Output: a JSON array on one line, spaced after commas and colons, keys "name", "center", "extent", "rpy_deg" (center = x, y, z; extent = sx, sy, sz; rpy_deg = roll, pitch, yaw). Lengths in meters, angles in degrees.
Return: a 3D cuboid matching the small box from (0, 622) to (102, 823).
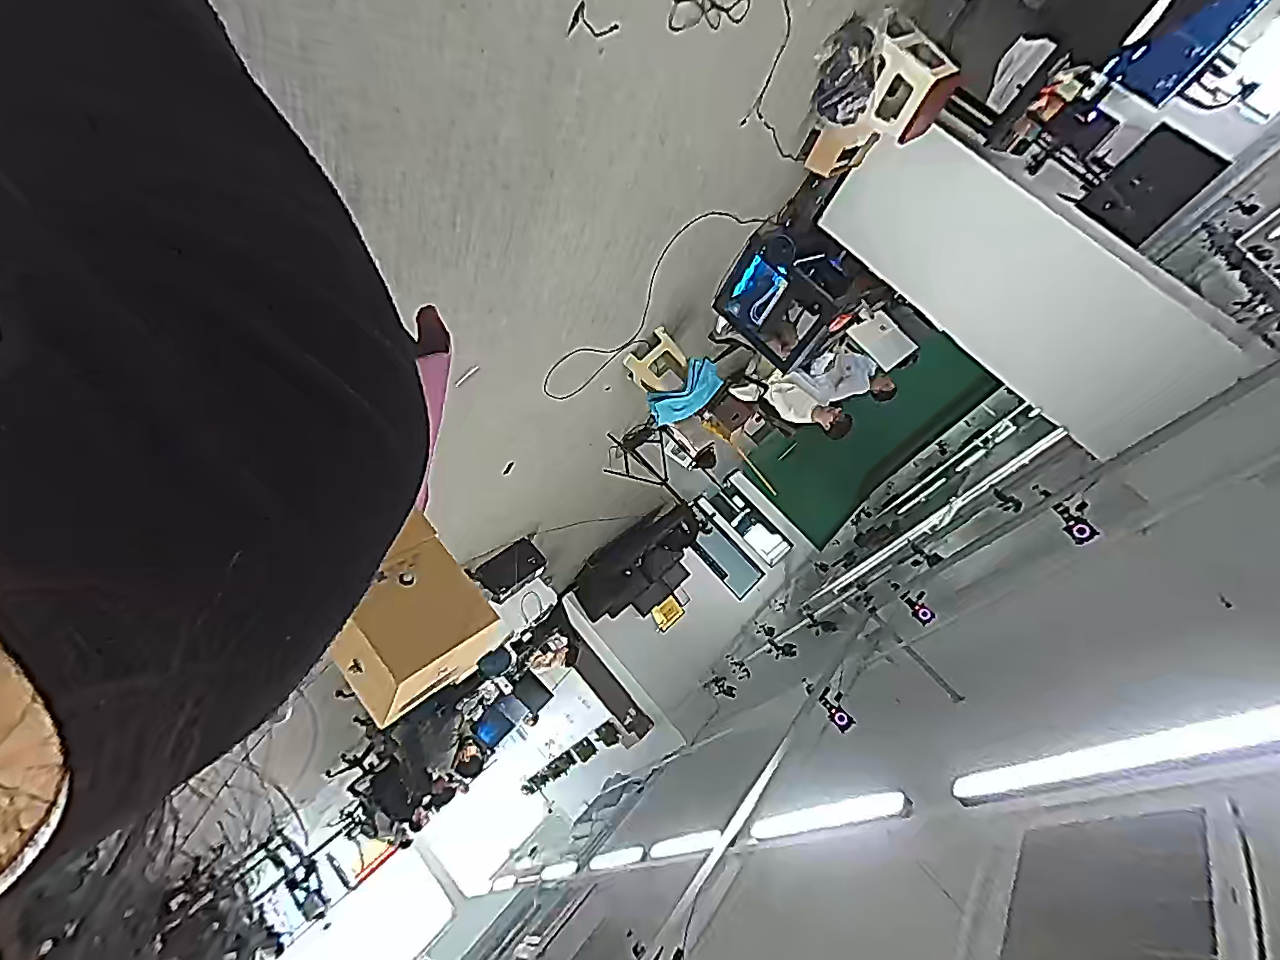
[{"name": "small box", "center": [-0.709, 0.259, 0.541], "extent": [0.168, 0.176, 0.179], "rpy_deg": [-34, 165, -42]}]
